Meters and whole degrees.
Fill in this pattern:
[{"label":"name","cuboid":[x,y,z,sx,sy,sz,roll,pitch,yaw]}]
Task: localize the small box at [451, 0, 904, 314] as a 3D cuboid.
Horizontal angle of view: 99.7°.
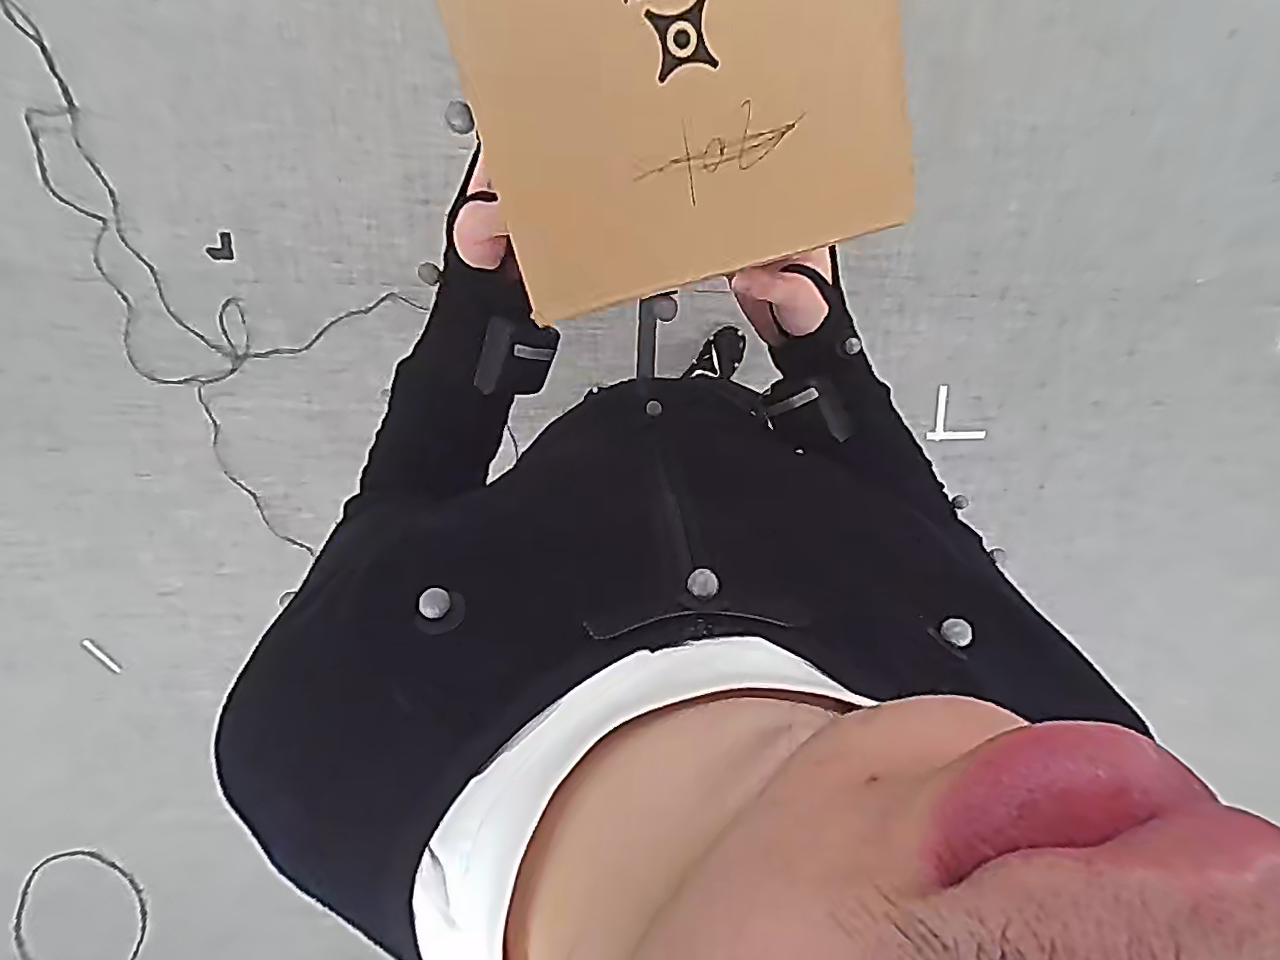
[{"label":"small box","cuboid":[0.009,-0.196,0.285,0.168,0.176,0.179,-16,109,1]}]
